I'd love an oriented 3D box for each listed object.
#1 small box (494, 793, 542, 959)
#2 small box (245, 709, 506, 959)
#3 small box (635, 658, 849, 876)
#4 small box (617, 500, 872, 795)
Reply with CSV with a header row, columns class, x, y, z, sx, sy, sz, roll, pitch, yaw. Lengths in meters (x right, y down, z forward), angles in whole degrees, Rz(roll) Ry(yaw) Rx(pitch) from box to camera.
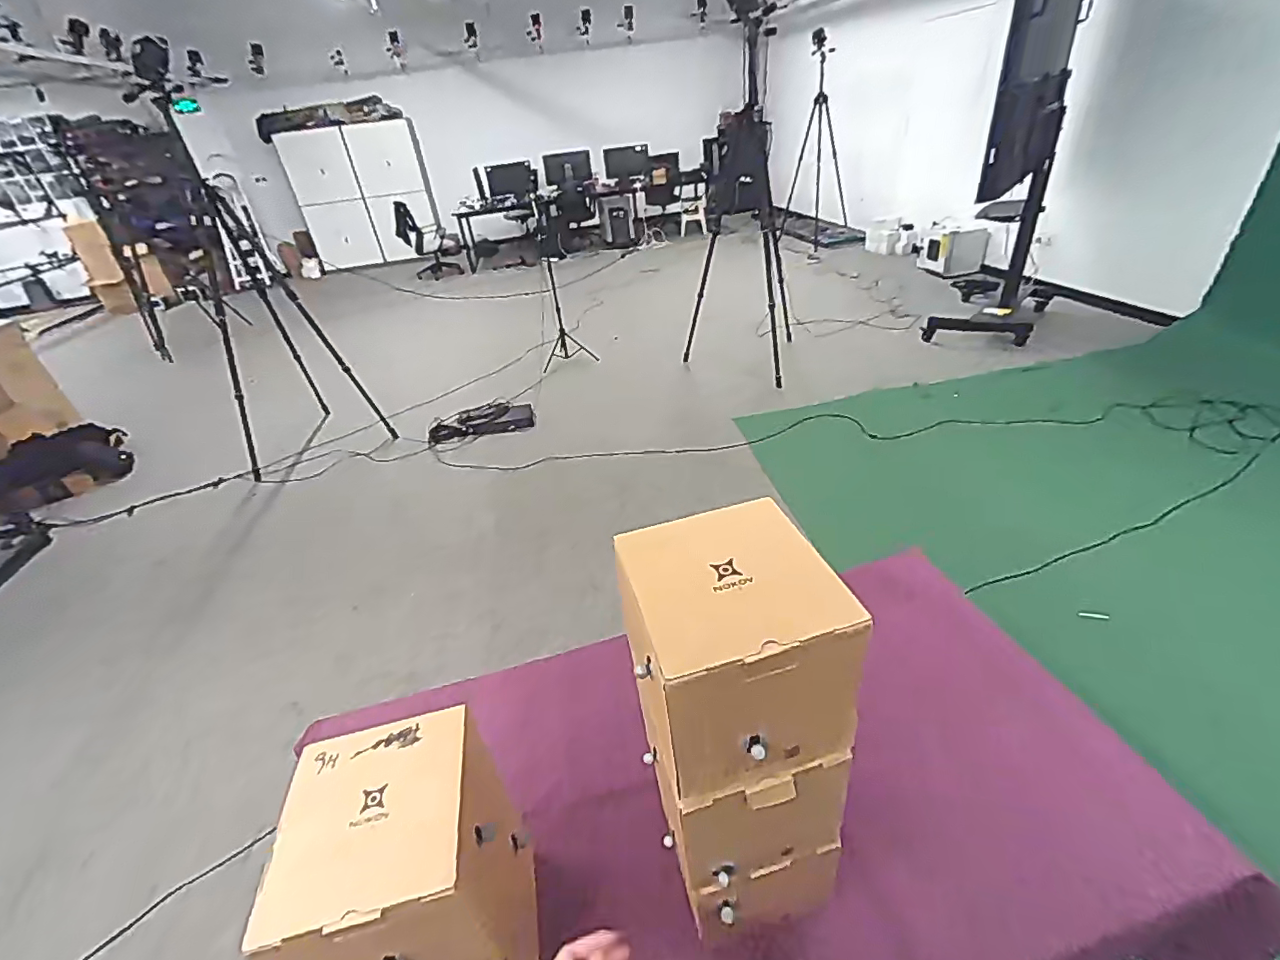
class,x,y,z,sx,sy,sz,roll,pitch,yaw
small box,-0.212,0.507,0.619,0.168,0.176,0.179,-13,34,-7
small box,-0.232,0.368,0.532,0.168,0.176,0.179,-12,34,-8
small box,0.102,0.288,0.584,0.168,0.176,0.179,-14,32,-8
small box,0.083,0.147,0.504,0.168,0.176,0.179,-14,34,-9
